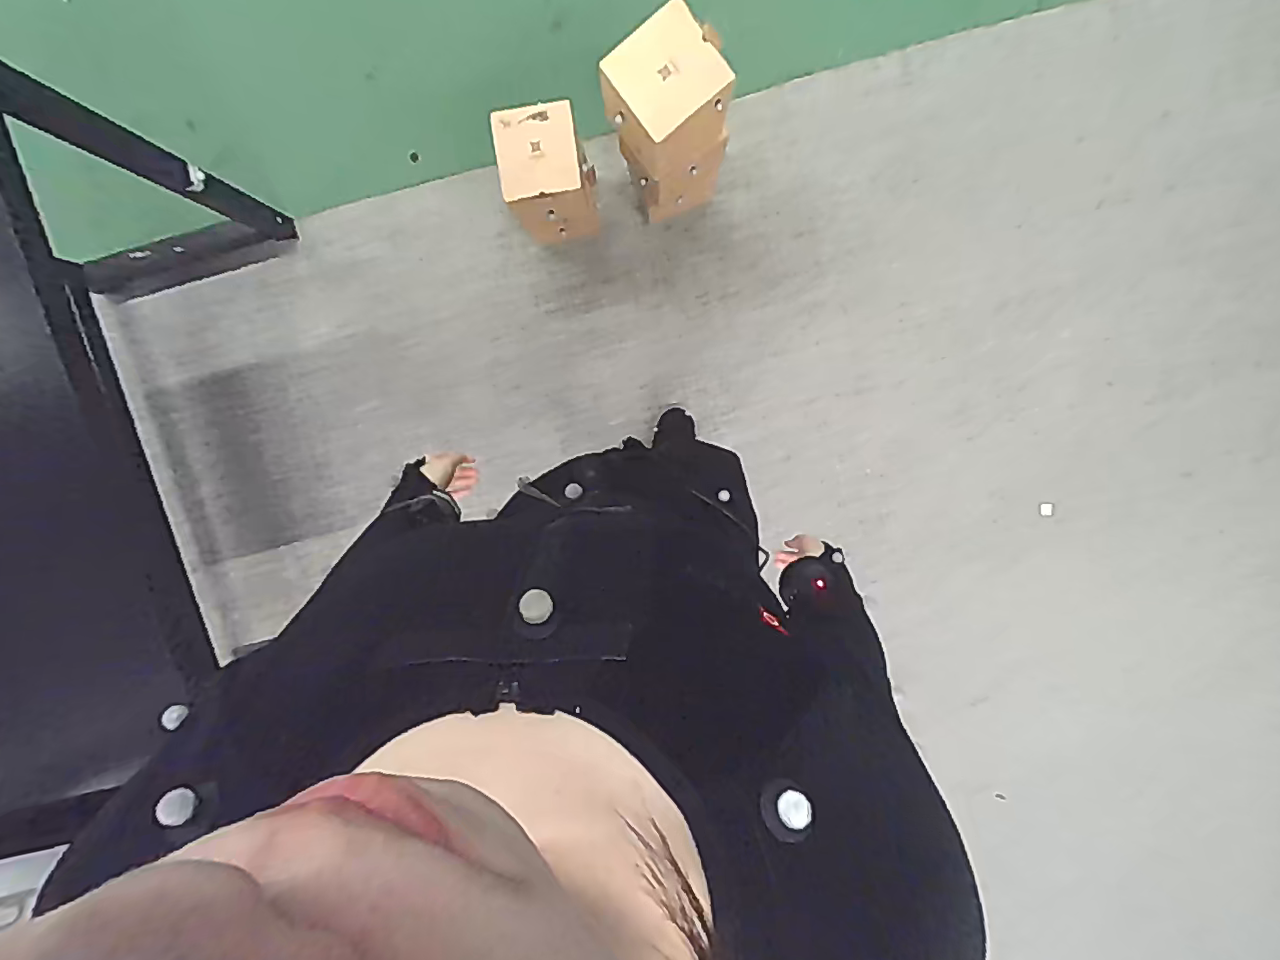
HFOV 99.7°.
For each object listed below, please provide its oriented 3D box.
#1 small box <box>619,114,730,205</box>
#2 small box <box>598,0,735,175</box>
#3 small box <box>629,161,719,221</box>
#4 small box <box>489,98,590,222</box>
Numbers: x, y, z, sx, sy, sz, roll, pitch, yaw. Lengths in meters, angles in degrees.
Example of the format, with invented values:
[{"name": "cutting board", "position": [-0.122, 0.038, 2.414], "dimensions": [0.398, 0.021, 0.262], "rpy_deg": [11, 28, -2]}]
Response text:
[{"name": "small box", "position": [0.066, -0.724, 1.146], "dimensions": [0.179, 0.176, 0.168], "rpy_deg": [-34, 97, 4]}, {"name": "small box", "position": [0.047, -0.703, 0.984], "dimensions": [0.179, 0.176, 0.168], "rpy_deg": [-38, 96, 5]}, {"name": "small box", "position": [0.075, -0.757, 1.305], "dimensions": [0.179, 0.176, 0.168], "rpy_deg": [-21, 97, 3]}, {"name": "small box", "position": [-0.207, -0.669, 1.157], "dimensions": [0.168, 0.176, 0.179], "rpy_deg": [-7, 97, 3]}]
